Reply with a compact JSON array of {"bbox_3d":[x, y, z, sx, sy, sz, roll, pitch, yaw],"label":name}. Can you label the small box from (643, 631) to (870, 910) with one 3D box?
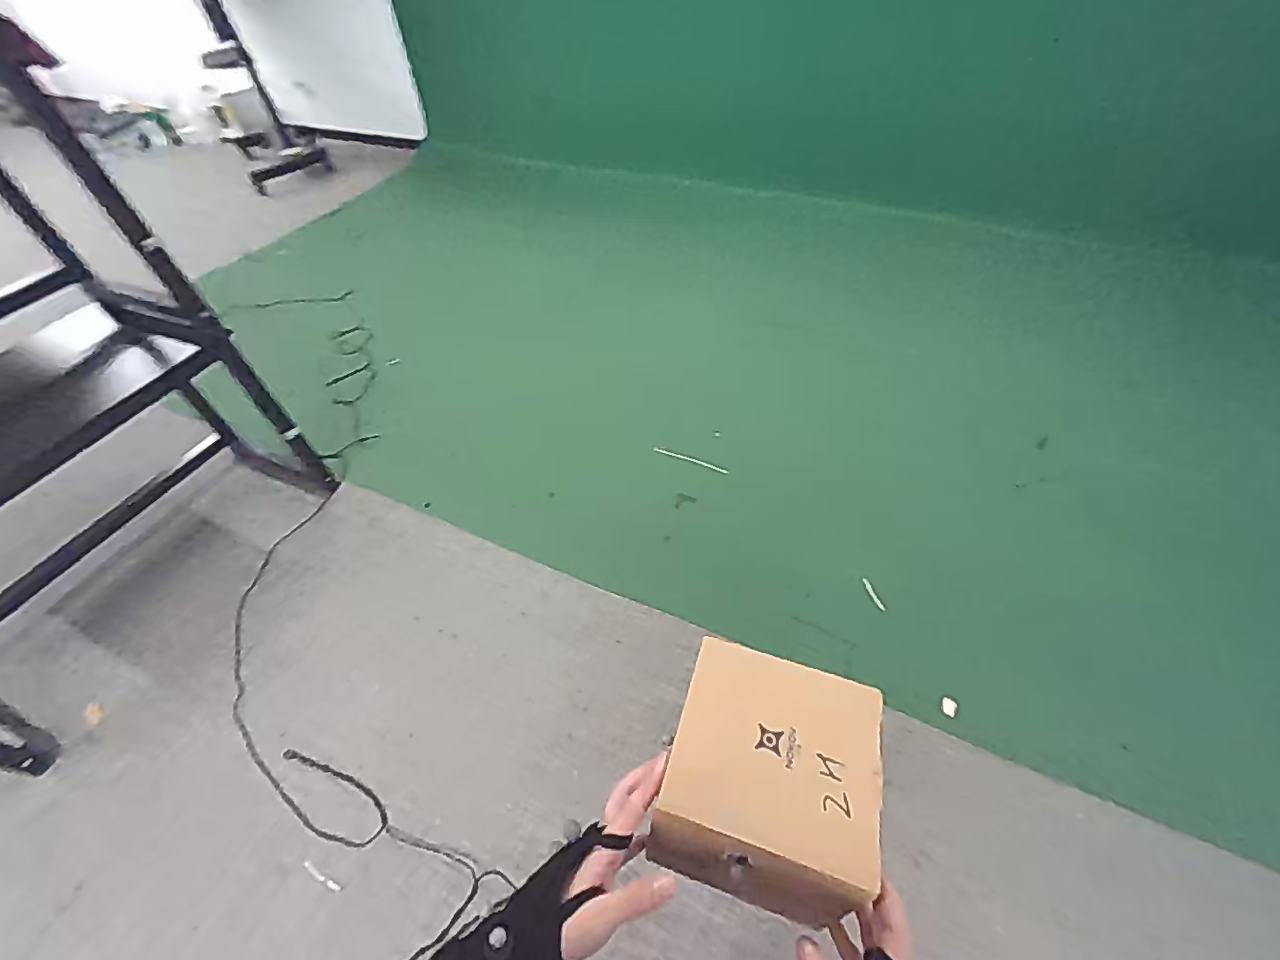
[{"bbox_3d":[0.108,0.284,0.531,0.179,0.176,0.168,15,44,12],"label":"small box"}]
